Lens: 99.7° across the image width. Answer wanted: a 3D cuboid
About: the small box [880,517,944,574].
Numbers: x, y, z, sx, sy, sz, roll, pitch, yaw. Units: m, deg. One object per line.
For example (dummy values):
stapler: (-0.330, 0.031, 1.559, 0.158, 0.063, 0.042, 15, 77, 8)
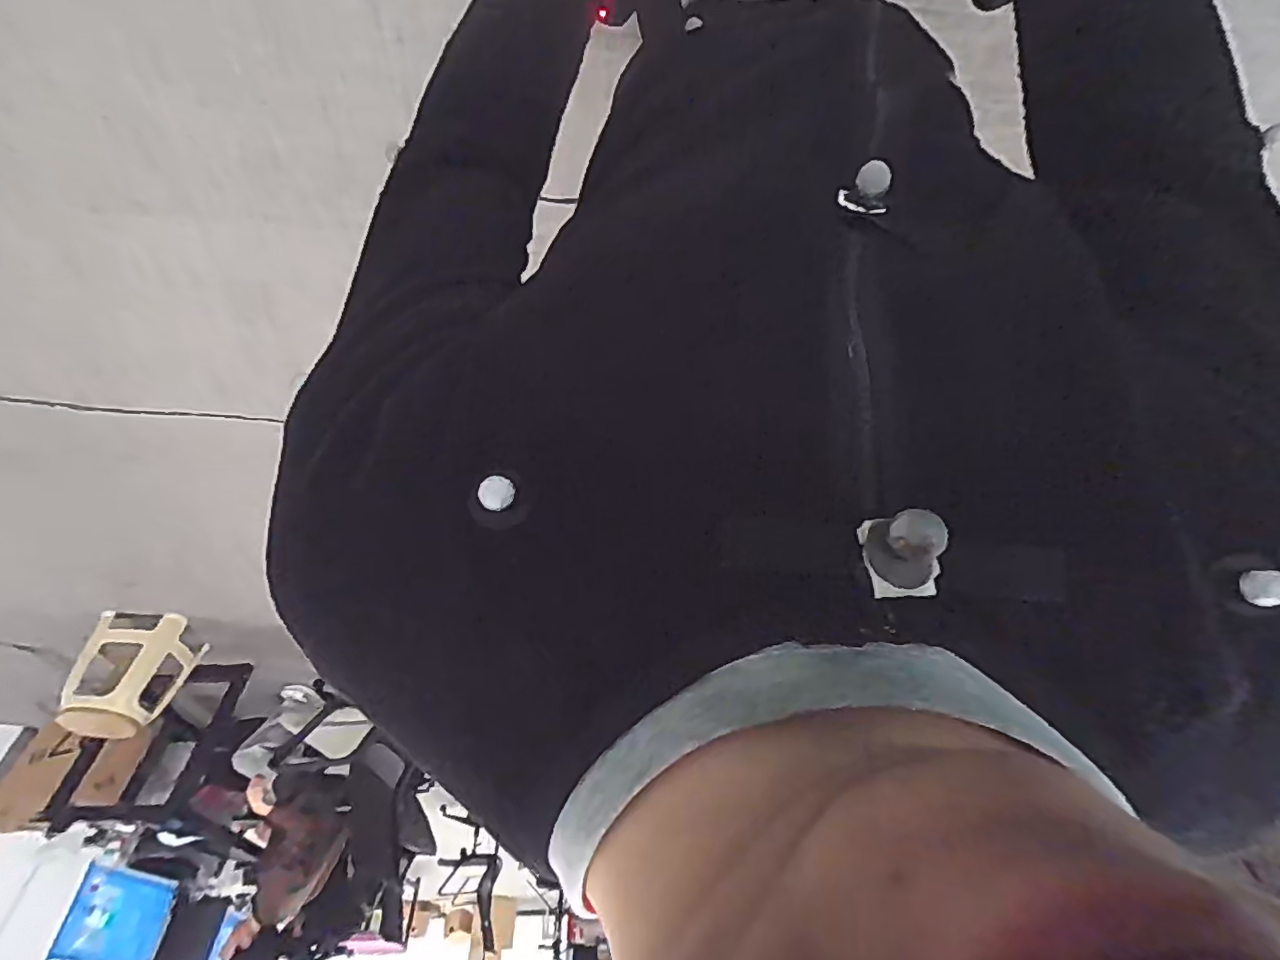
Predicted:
small box: (1.093, 0.260, 2.191, 0.168, 0.176, 0.179, -5, 137, 4)
